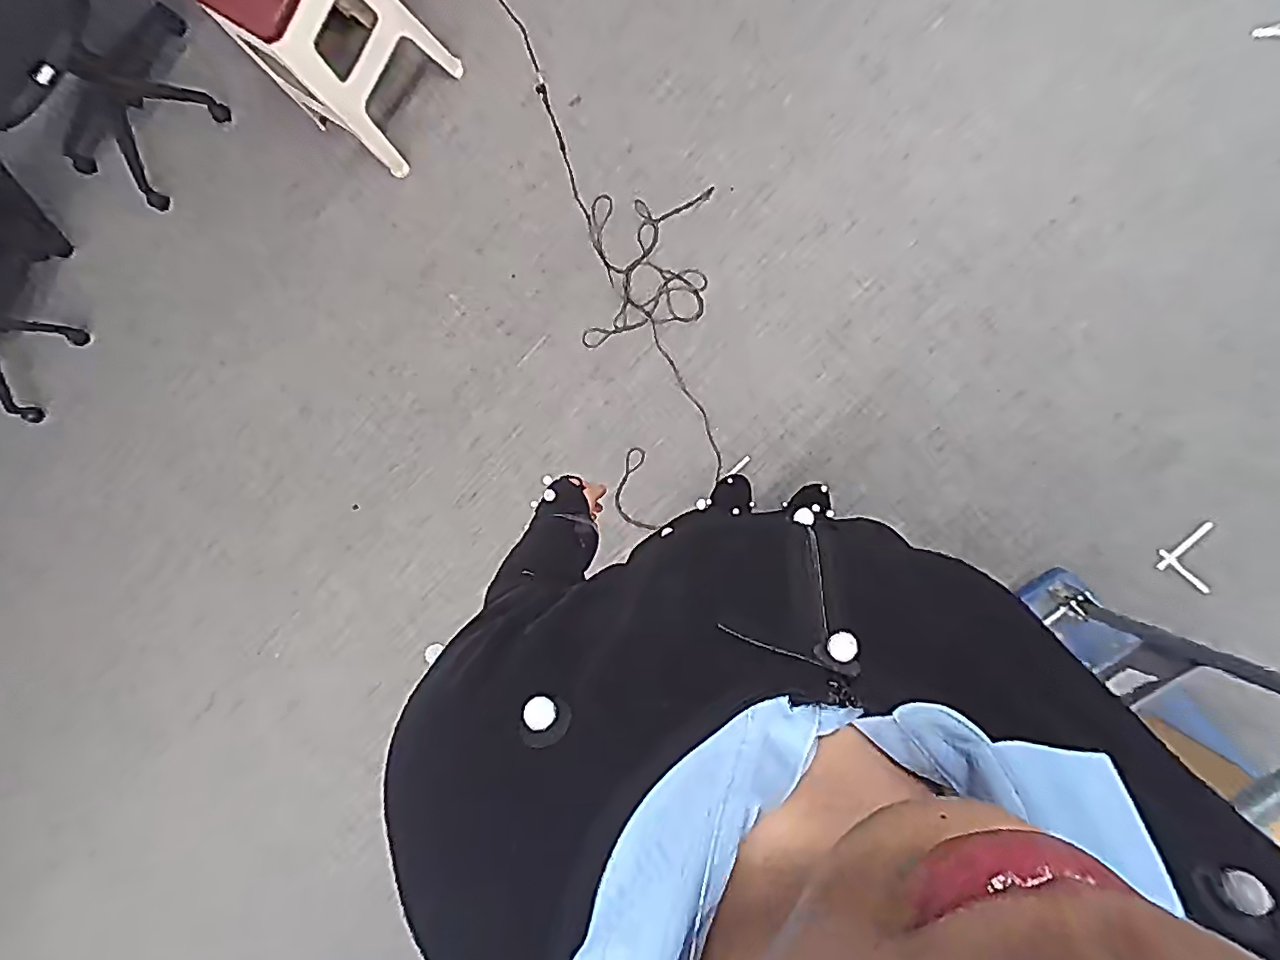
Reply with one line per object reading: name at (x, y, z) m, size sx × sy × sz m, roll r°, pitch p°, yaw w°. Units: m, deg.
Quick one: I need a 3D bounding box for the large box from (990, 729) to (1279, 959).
large box at (0.970, 0.749, 0.989) m, size 0.408 × 0.320 × 0.320 m, roll -38°, pitch 83°, yaw 9°
